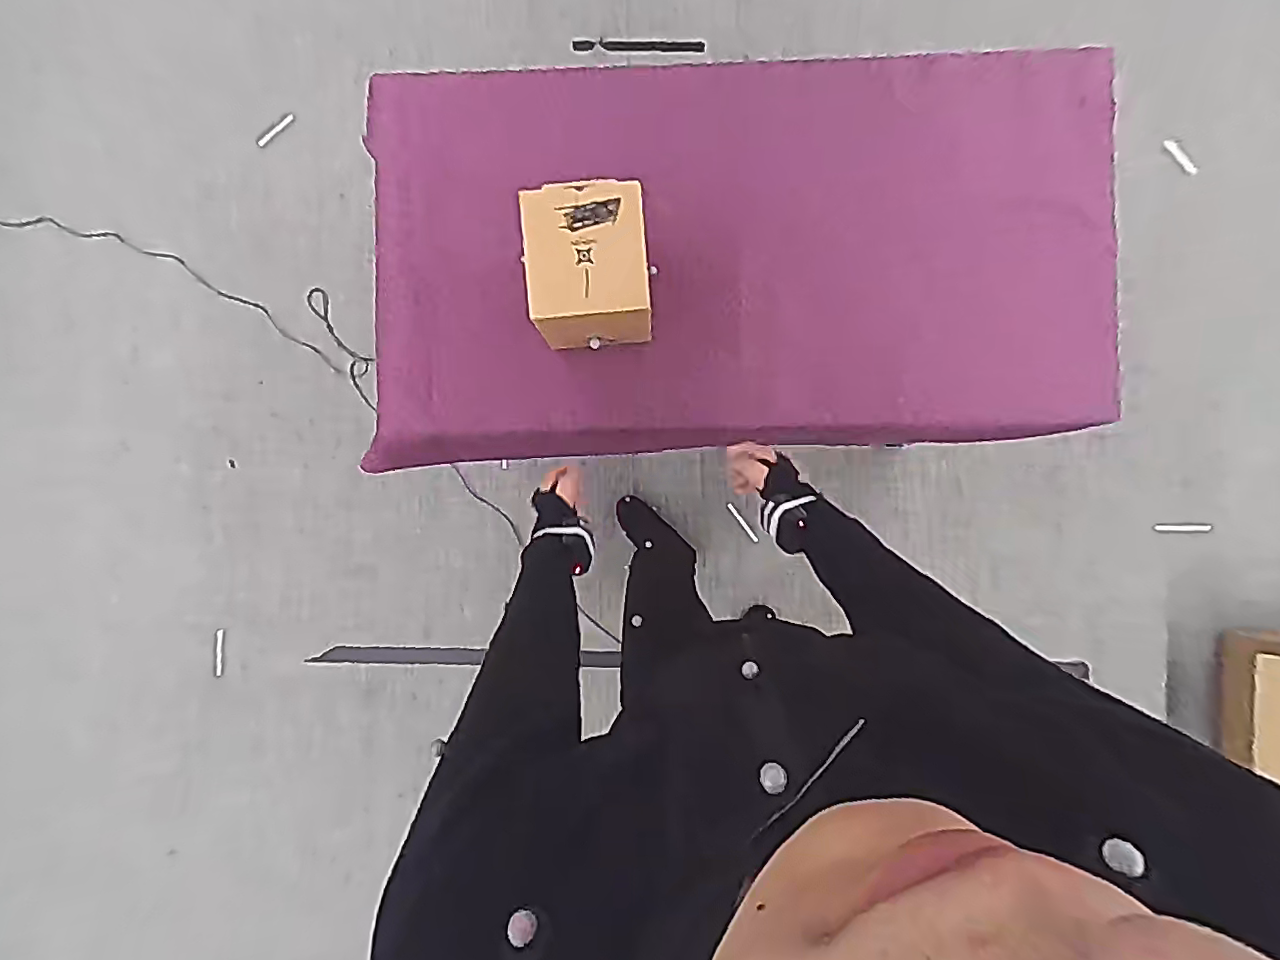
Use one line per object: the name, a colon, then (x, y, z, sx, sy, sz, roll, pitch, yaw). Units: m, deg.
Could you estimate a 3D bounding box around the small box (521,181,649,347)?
small box: (-0.075, -0.312, 0.810, 0.168, 0.176, 0.179, -5, 90, 2)
